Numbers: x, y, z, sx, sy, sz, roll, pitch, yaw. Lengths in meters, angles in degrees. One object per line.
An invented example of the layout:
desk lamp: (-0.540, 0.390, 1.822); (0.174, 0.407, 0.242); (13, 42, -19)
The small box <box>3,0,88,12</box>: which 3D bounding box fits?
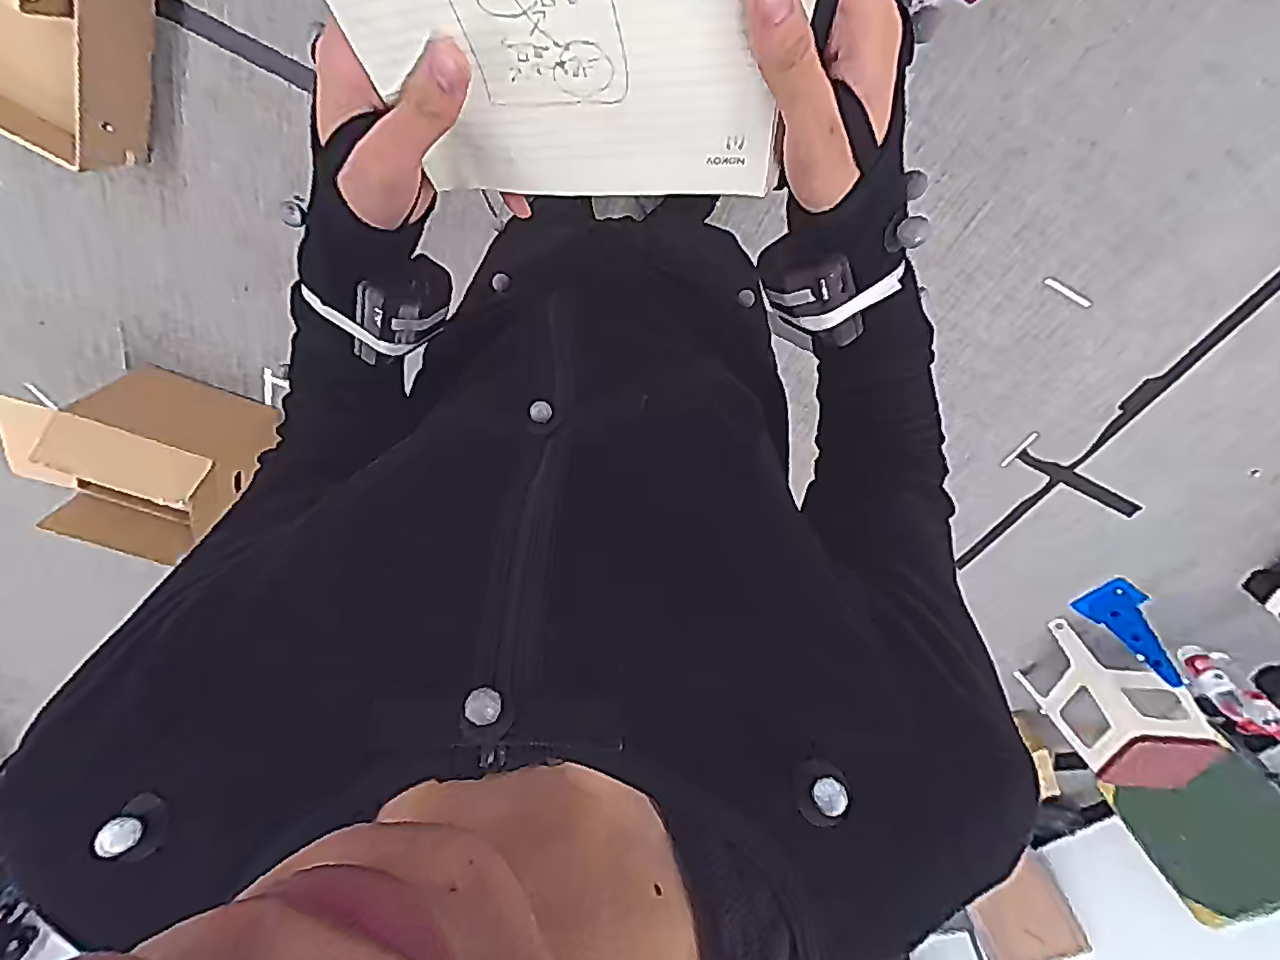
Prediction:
small box: (-1.193, -1.034, 1.021); (0.179, 0.176, 0.168); (34, 121, -20)
